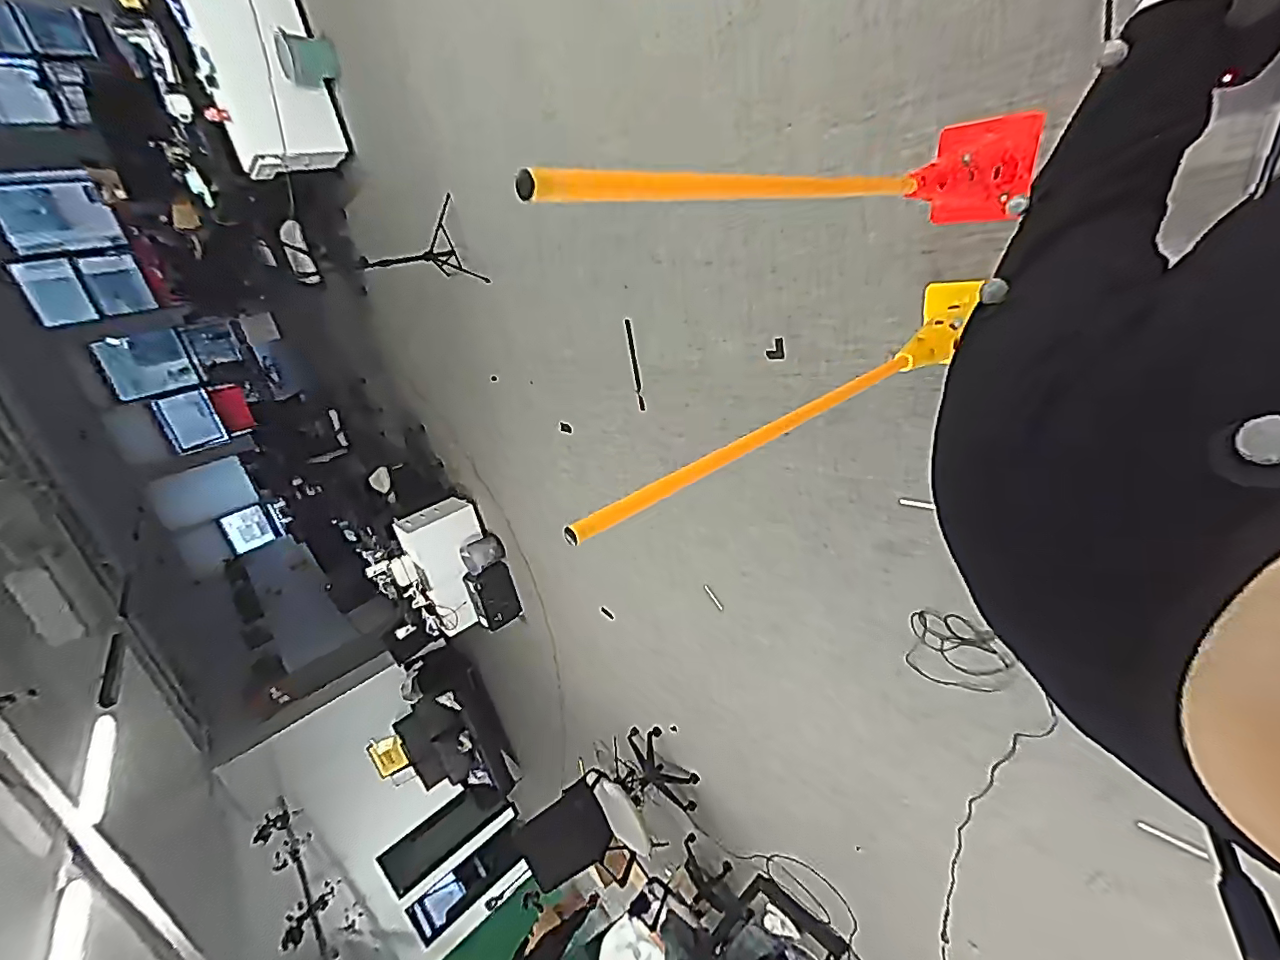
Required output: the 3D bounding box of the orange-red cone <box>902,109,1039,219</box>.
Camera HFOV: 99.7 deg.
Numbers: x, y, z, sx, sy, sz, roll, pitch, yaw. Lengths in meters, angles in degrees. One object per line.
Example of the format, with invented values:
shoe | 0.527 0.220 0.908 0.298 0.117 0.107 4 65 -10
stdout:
orange-red cone | 0.618 -0.616 1.083 0.198 0.360 0.199 22 128 42
